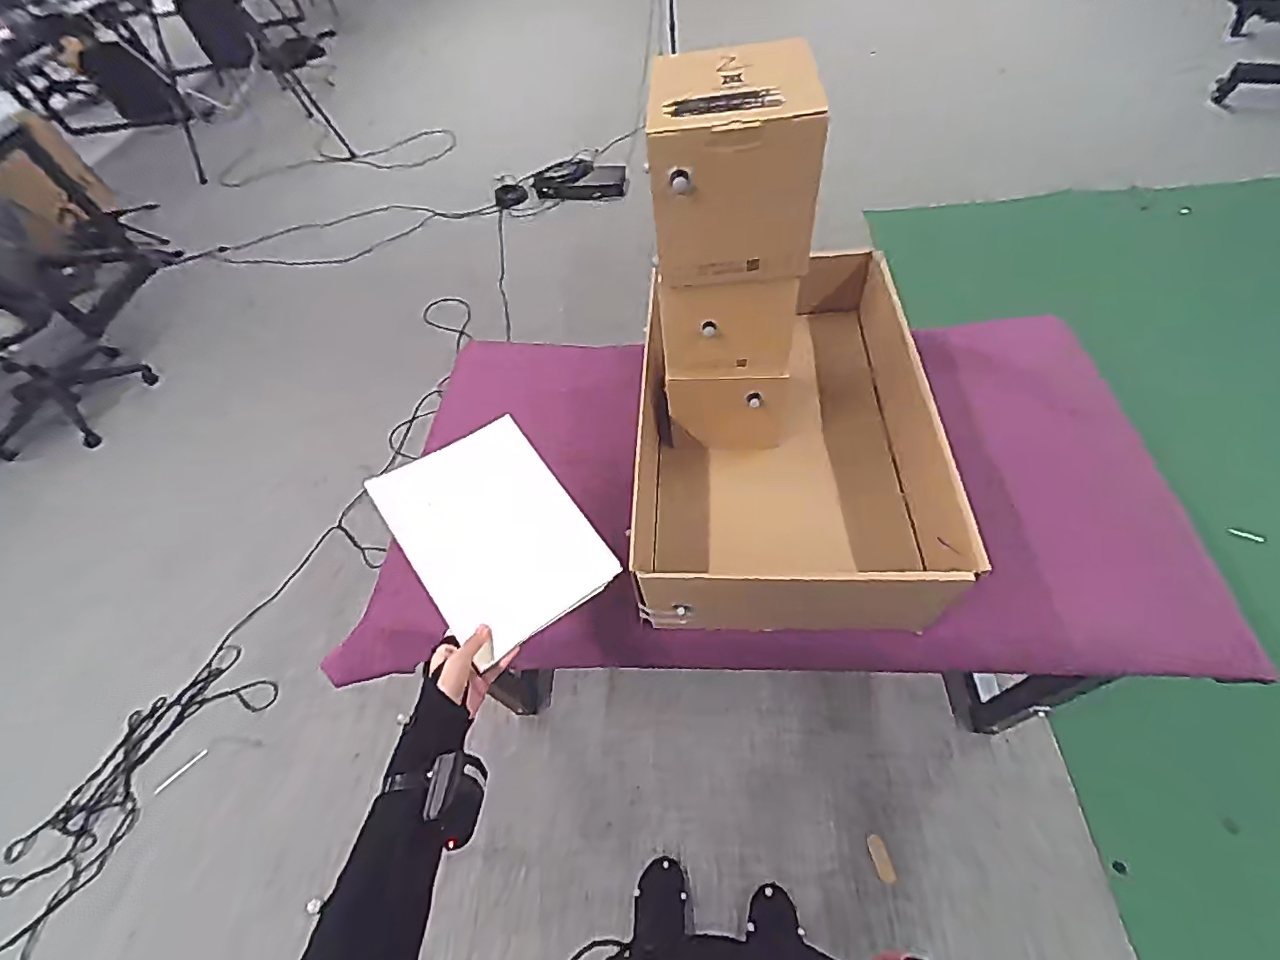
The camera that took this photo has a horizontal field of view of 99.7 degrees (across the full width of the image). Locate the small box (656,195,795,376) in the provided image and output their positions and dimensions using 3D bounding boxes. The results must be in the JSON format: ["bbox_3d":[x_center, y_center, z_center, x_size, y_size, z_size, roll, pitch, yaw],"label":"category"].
[{"bbox_3d":[0.117,-0.257,0.741,0.168,0.176,0.179,0,56,9],"label":"small box"}]
